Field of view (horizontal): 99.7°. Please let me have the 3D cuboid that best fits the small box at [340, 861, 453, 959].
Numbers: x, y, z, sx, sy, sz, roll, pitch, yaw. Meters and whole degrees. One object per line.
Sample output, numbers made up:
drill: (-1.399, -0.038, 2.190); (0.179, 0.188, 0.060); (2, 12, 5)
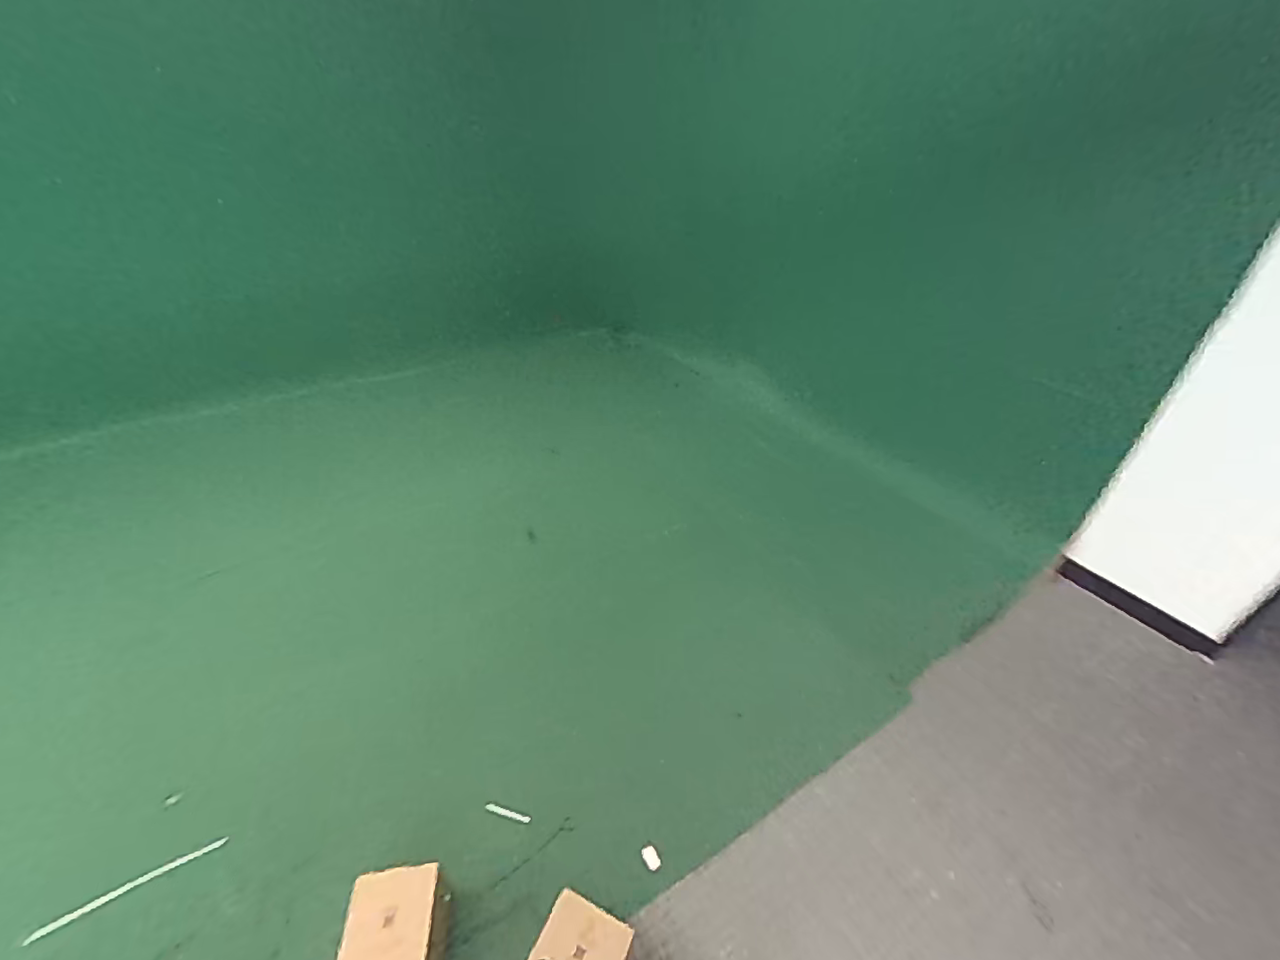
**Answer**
small box: (-0.495, 0.934, 1.124); (0.168, 0.176, 0.179); (-4, 37, -6)
